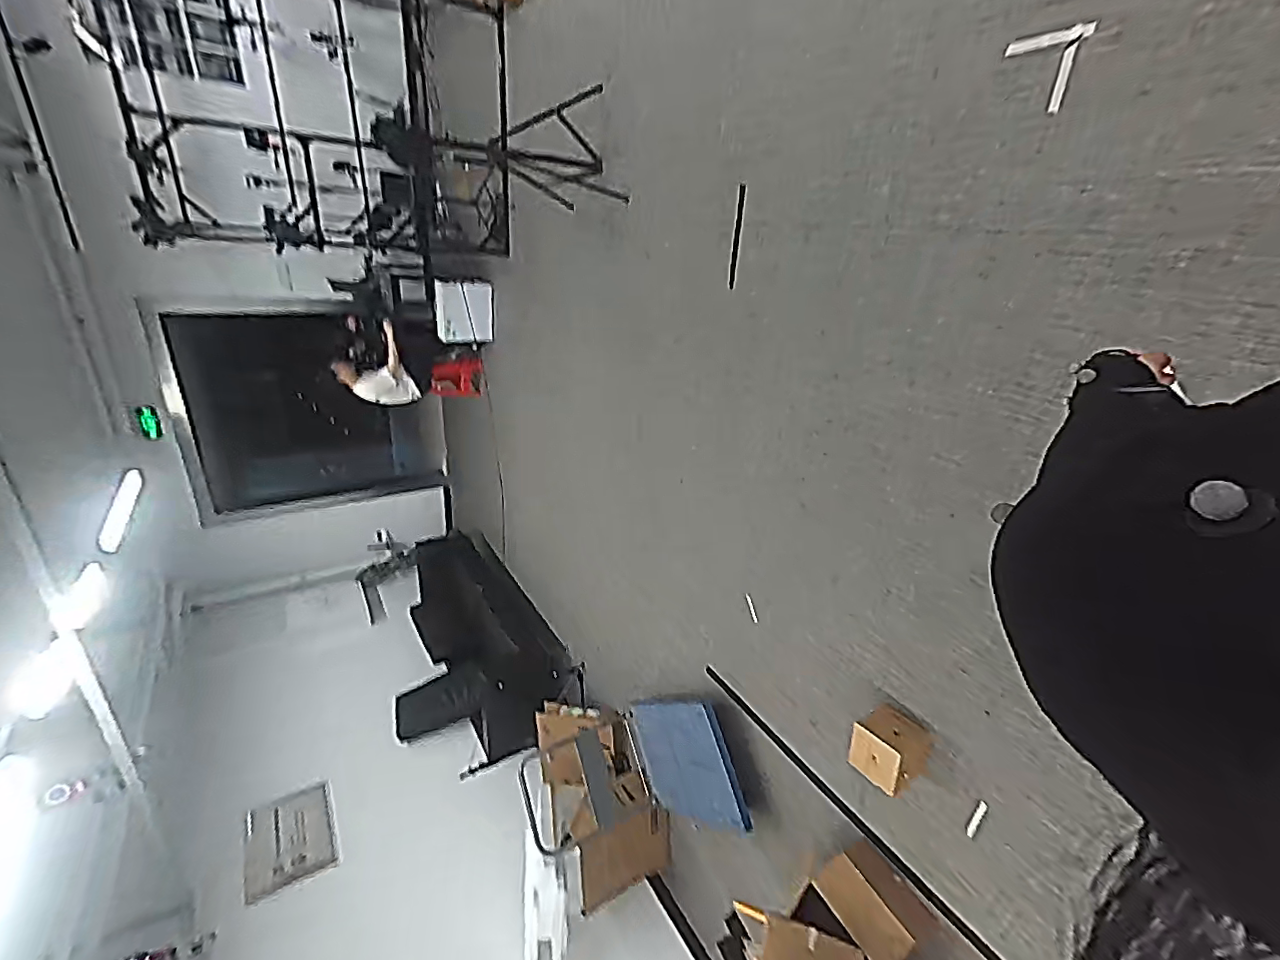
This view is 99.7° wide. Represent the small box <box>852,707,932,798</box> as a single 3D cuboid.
[{"bbox_3d":[0.828,0.882,1.771,0.168,0.176,0.179,26,122,53],"label":"small box"}]
